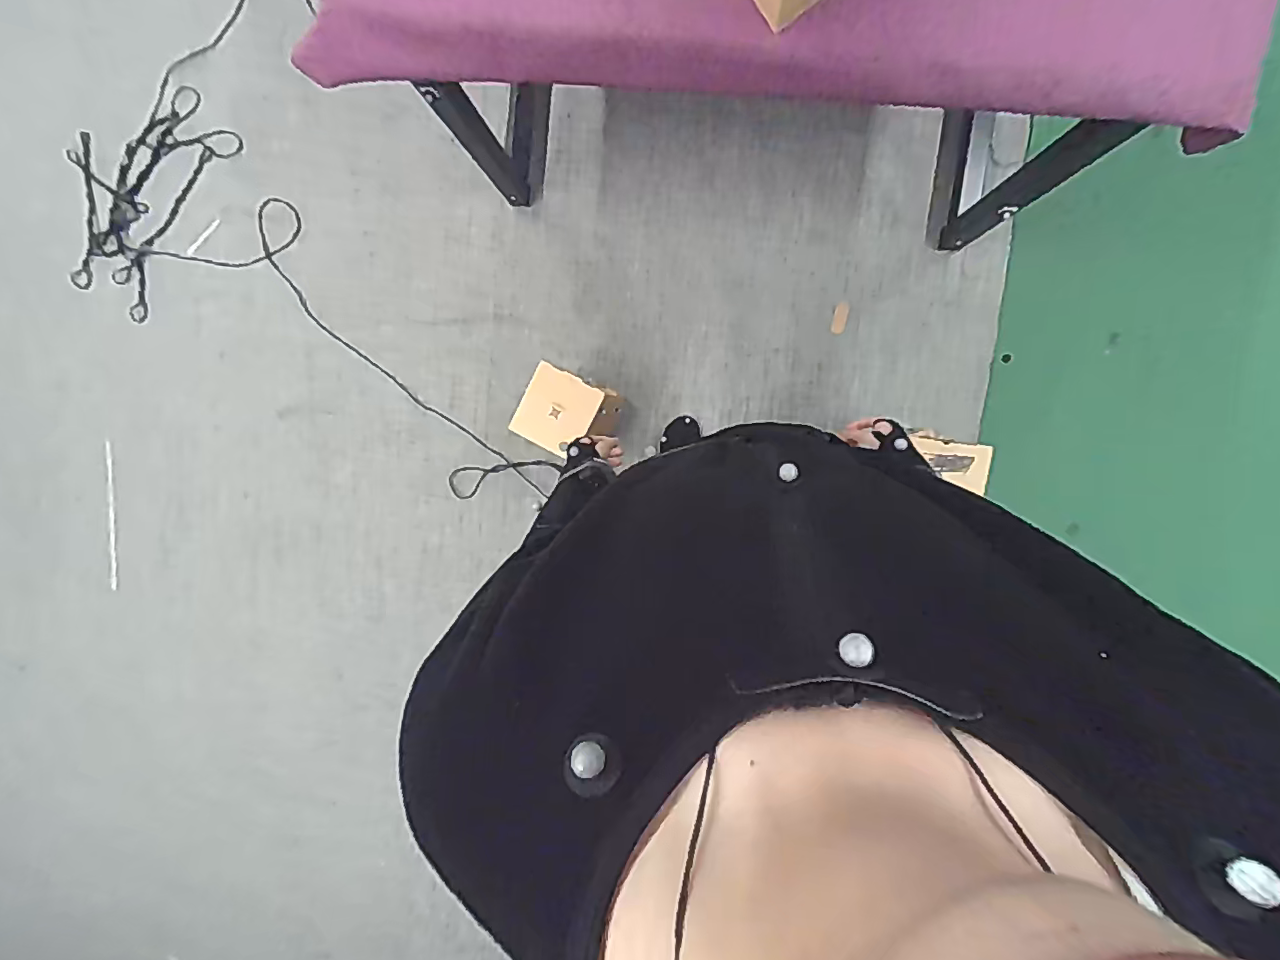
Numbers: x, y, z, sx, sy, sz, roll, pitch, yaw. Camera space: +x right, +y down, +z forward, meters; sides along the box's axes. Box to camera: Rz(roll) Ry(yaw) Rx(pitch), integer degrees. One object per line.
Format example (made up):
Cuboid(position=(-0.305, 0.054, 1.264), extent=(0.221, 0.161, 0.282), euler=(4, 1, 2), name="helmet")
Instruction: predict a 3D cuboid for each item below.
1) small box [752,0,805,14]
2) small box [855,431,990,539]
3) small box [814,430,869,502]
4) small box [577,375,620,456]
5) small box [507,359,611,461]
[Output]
Cuboid(position=(0.185, -0.692, 0.614), extent=(0.168, 0.176, 0.179), euler=(-34, 91, 6), name="small box")
Cuboid(position=(0.539, 0.001, 1.057), extent=(0.168, 0.176, 0.179), euler=(9, 98, 3), name="small box")
Cuboid(position=(0.567, -0.024, 1.384), extent=(0.179, 0.176, 0.168), euler=(17, 97, 3), name="small box")
Cuboid(position=(-0.158, -0.178, 1.431), extent=(0.168, 0.176, 0.179), euler=(22, 98, 3), name="small box")
Cuboid(position=(-0.181, -0.161, 1.272), extent=(0.168, 0.176, 0.179), euler=(28, 97, 3), name="small box")
